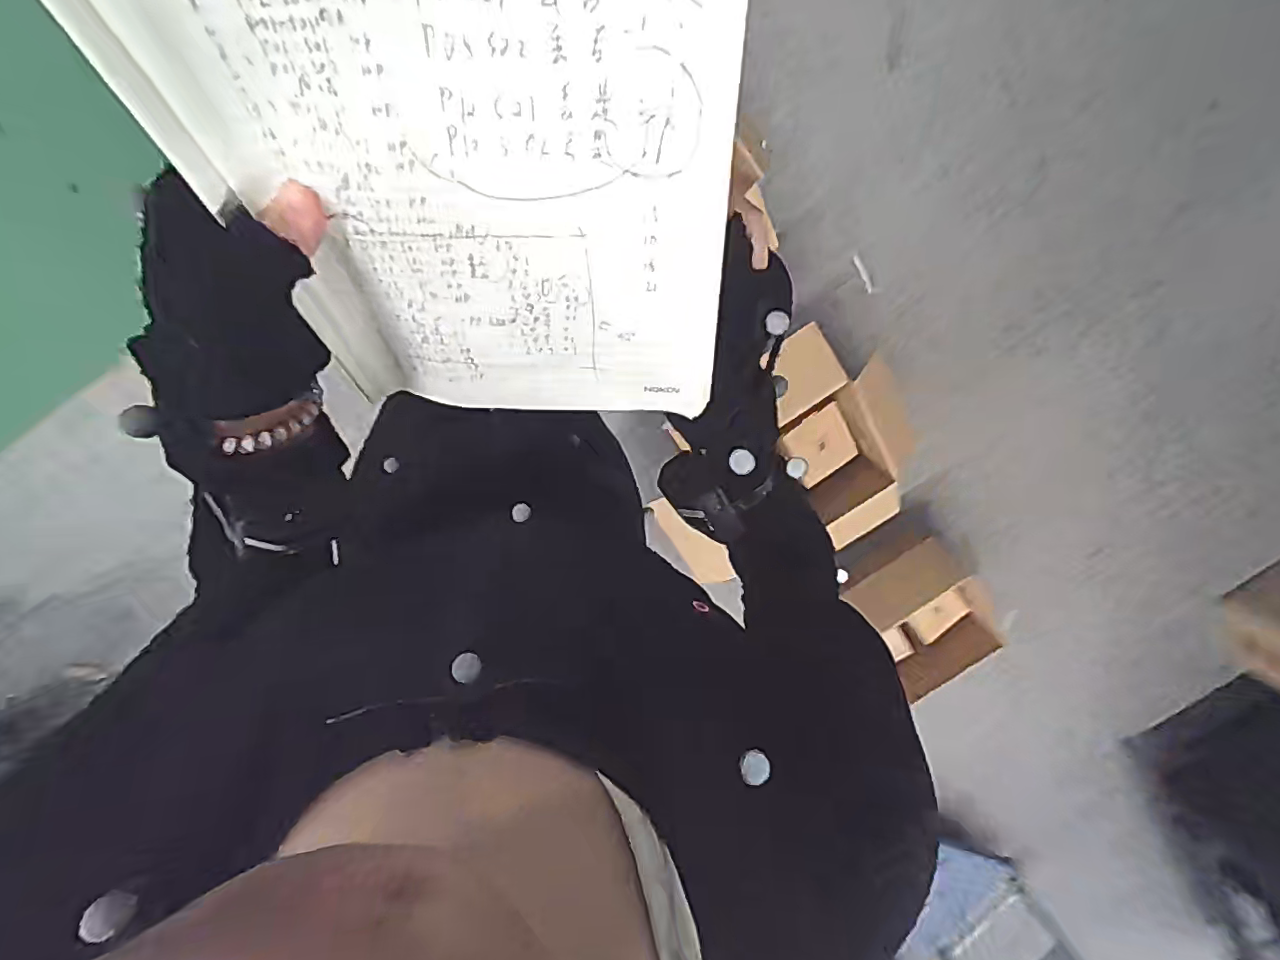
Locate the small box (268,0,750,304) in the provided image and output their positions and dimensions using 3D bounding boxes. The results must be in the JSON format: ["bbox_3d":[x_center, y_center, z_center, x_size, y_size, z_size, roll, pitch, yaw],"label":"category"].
[{"bbox_3d":[-0.051,-0.211,0.255,0.168,0.176,0.179,3,140,-7],"label":"small box"}]
